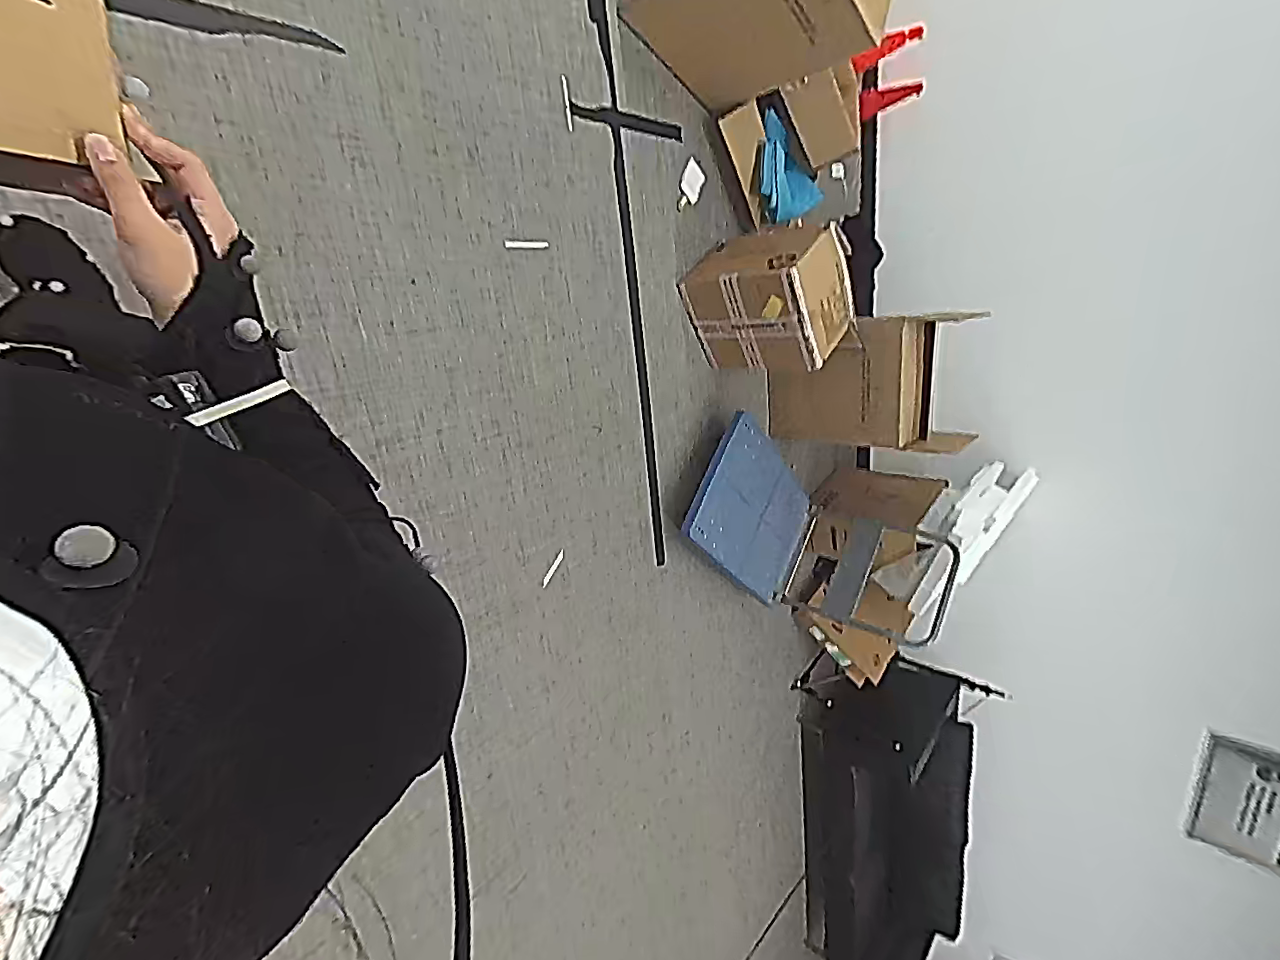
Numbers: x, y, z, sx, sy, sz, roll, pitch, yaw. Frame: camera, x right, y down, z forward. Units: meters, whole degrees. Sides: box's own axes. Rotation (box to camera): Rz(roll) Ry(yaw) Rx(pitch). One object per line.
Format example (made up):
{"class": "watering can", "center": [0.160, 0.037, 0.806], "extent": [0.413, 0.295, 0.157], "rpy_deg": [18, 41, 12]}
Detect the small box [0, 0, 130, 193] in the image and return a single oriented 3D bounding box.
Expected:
{"class": "small box", "center": [-0.421, -0.276, 0.308], "extent": [0.179, 0.176, 0.168], "rpy_deg": [-10, 112, -41]}
